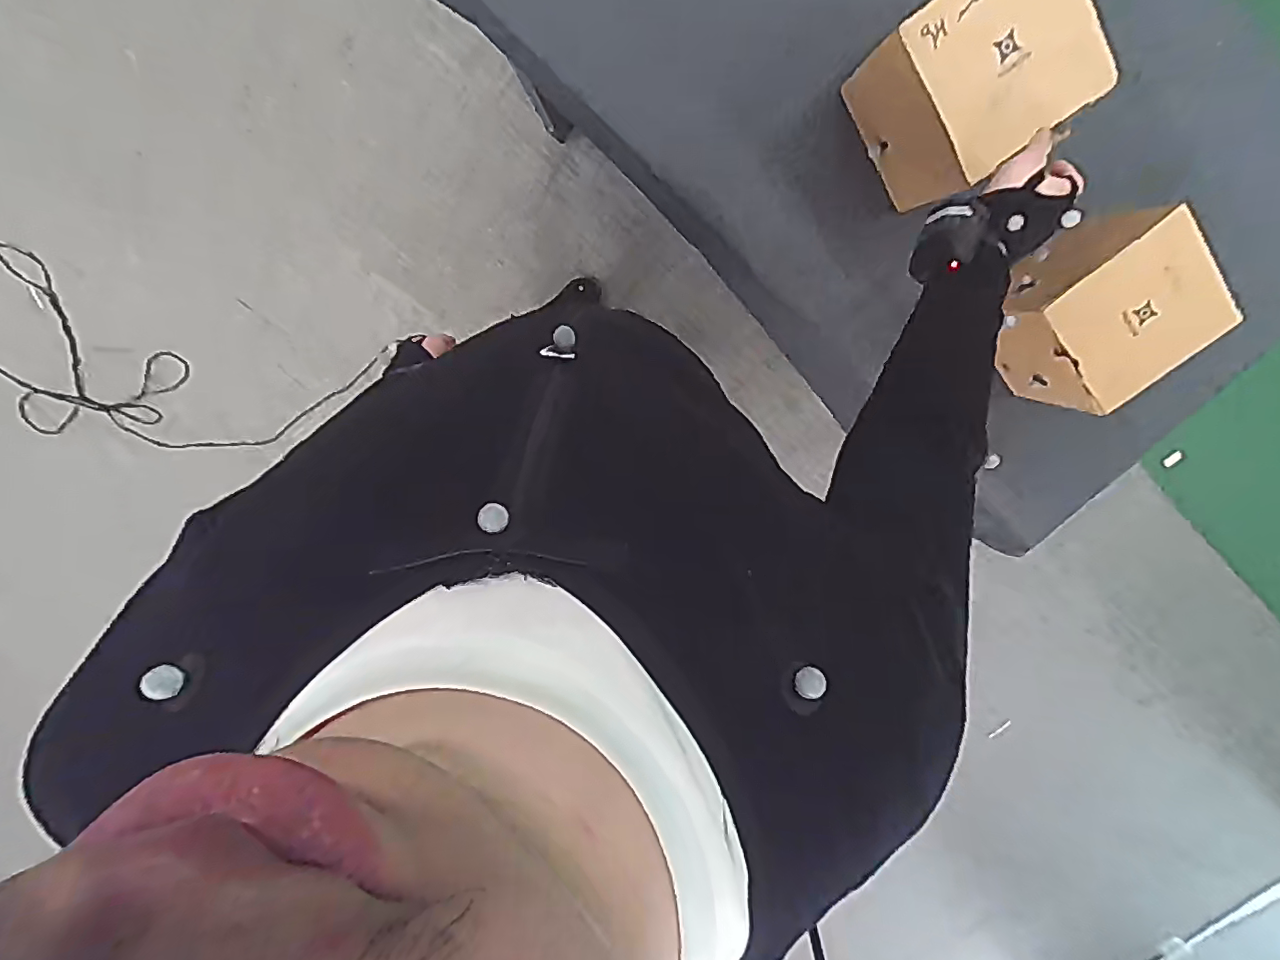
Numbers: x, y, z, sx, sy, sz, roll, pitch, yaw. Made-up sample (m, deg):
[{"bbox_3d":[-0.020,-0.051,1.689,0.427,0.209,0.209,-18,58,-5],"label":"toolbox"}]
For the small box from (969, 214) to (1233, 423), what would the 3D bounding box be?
[{"bbox_3d":[0.567,-0.202,0.696,0.179,0.176,0.168,-39,105,9],"label":"small box"}]

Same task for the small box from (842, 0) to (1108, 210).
[{"bbox_3d":[0.367,-0.438,0.623,0.168,0.176,0.179,-33,105,9],"label":"small box"}]
